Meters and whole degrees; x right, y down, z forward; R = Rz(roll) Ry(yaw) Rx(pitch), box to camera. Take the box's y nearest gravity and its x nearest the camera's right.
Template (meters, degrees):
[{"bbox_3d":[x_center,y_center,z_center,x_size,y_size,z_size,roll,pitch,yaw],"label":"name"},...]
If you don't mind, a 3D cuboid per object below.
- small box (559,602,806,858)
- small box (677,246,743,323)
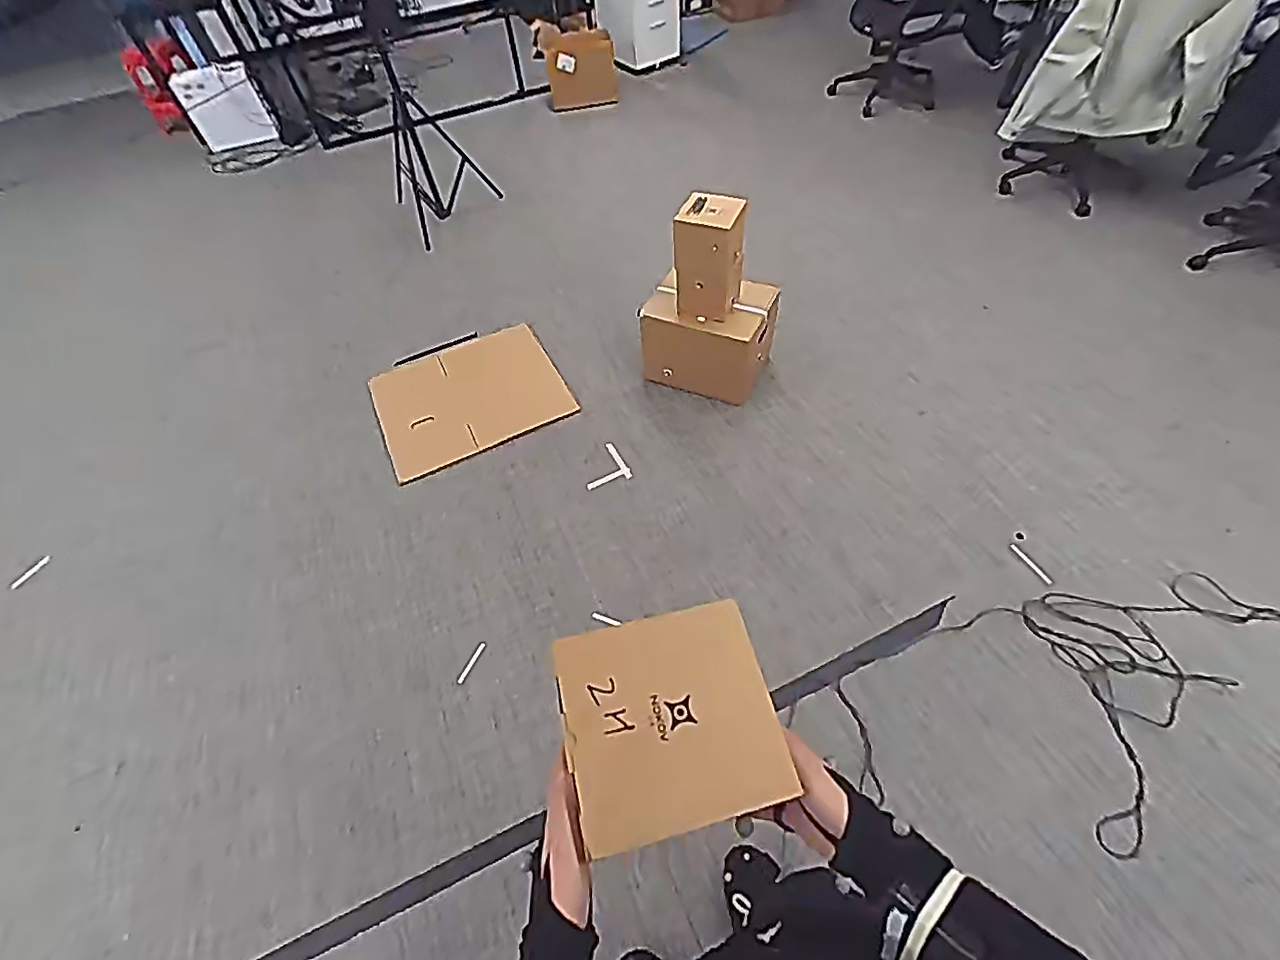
[{"bbox_3d":[0.023,0.234,0.514,0.179,0.176,0.168,-10,59,-11],"label":"small box"},{"bbox_3d":[0.231,-0.649,1.806,0.179,0.176,0.168,18,59,16],"label":"small box"}]
